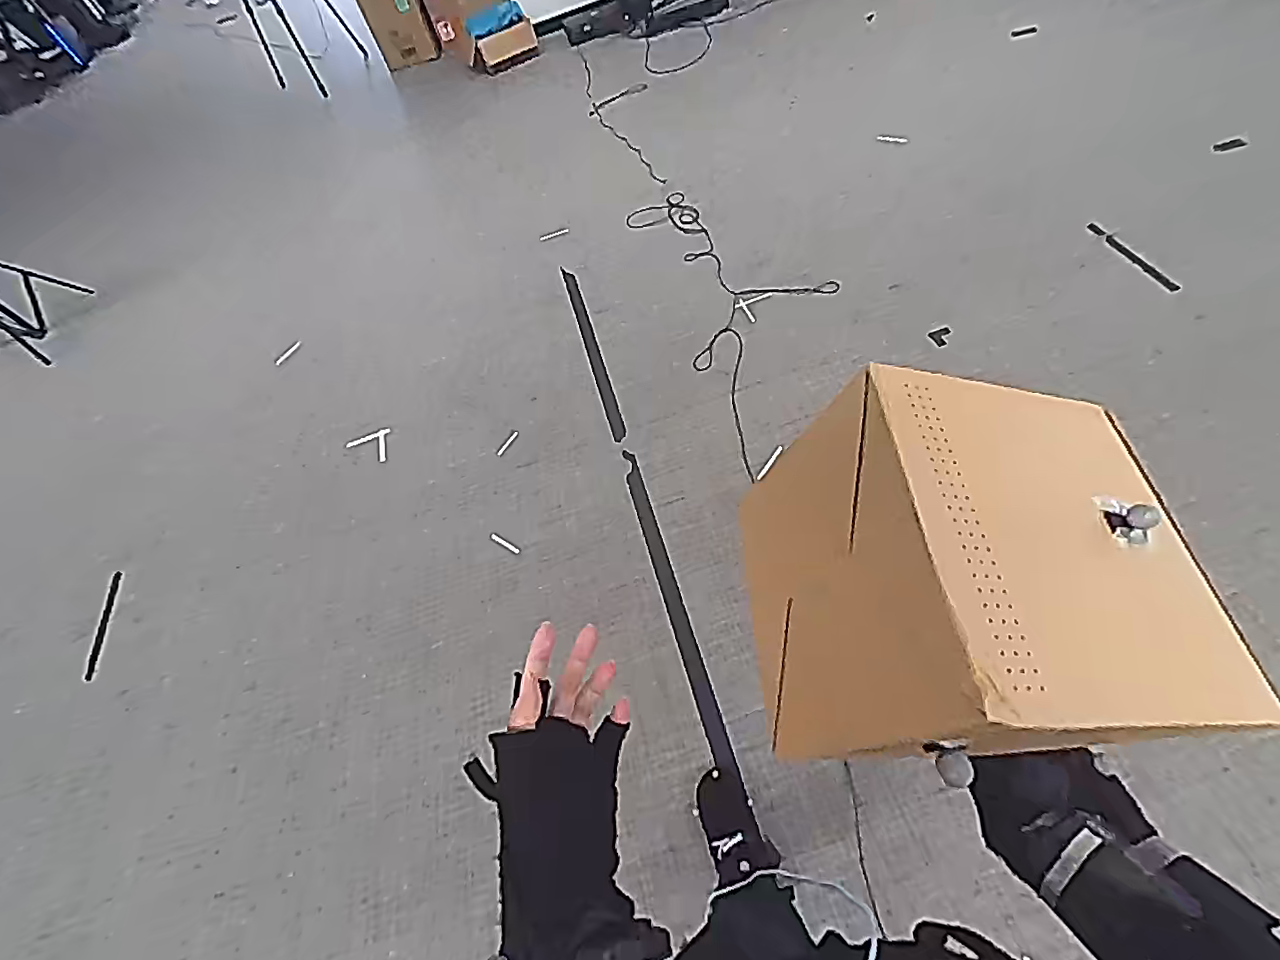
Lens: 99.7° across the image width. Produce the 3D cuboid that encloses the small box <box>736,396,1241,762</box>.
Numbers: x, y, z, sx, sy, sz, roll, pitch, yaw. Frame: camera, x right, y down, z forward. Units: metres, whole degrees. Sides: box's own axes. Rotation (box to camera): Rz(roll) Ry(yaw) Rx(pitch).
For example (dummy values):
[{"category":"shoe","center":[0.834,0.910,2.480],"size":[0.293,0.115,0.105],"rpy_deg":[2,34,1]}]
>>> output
[{"category":"small box","center":[0.171,0.068,0.333],"size":[0.176,0.168,0.179],"rpy_deg":[6,58,-13]}]
